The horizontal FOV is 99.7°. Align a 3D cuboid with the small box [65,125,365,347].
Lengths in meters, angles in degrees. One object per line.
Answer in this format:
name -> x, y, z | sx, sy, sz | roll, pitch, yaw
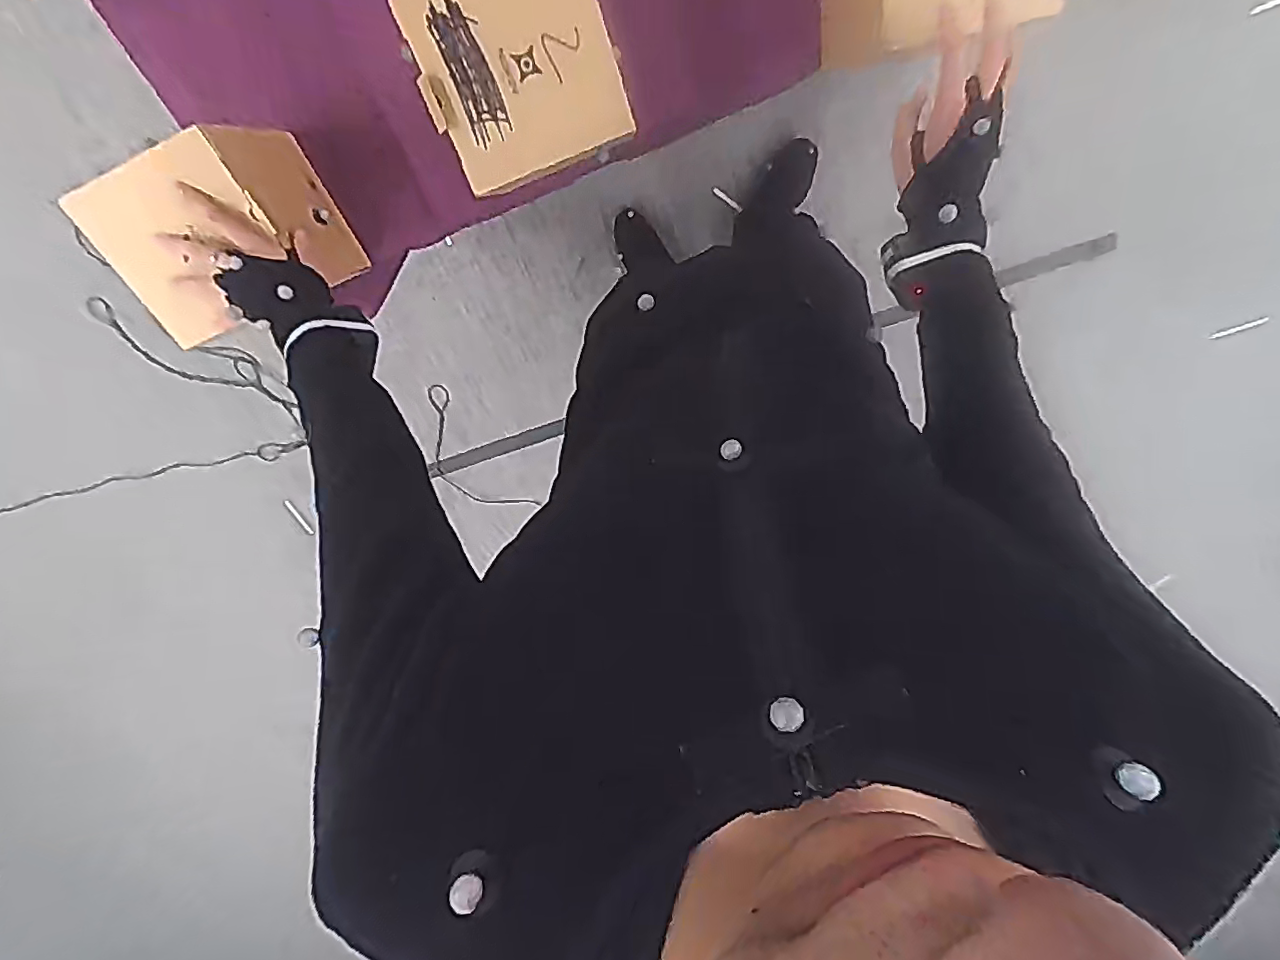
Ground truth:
small box -> -0.464, -0.280, 0.628 | 0.179, 0.176, 0.168 | -21, 119, 8
